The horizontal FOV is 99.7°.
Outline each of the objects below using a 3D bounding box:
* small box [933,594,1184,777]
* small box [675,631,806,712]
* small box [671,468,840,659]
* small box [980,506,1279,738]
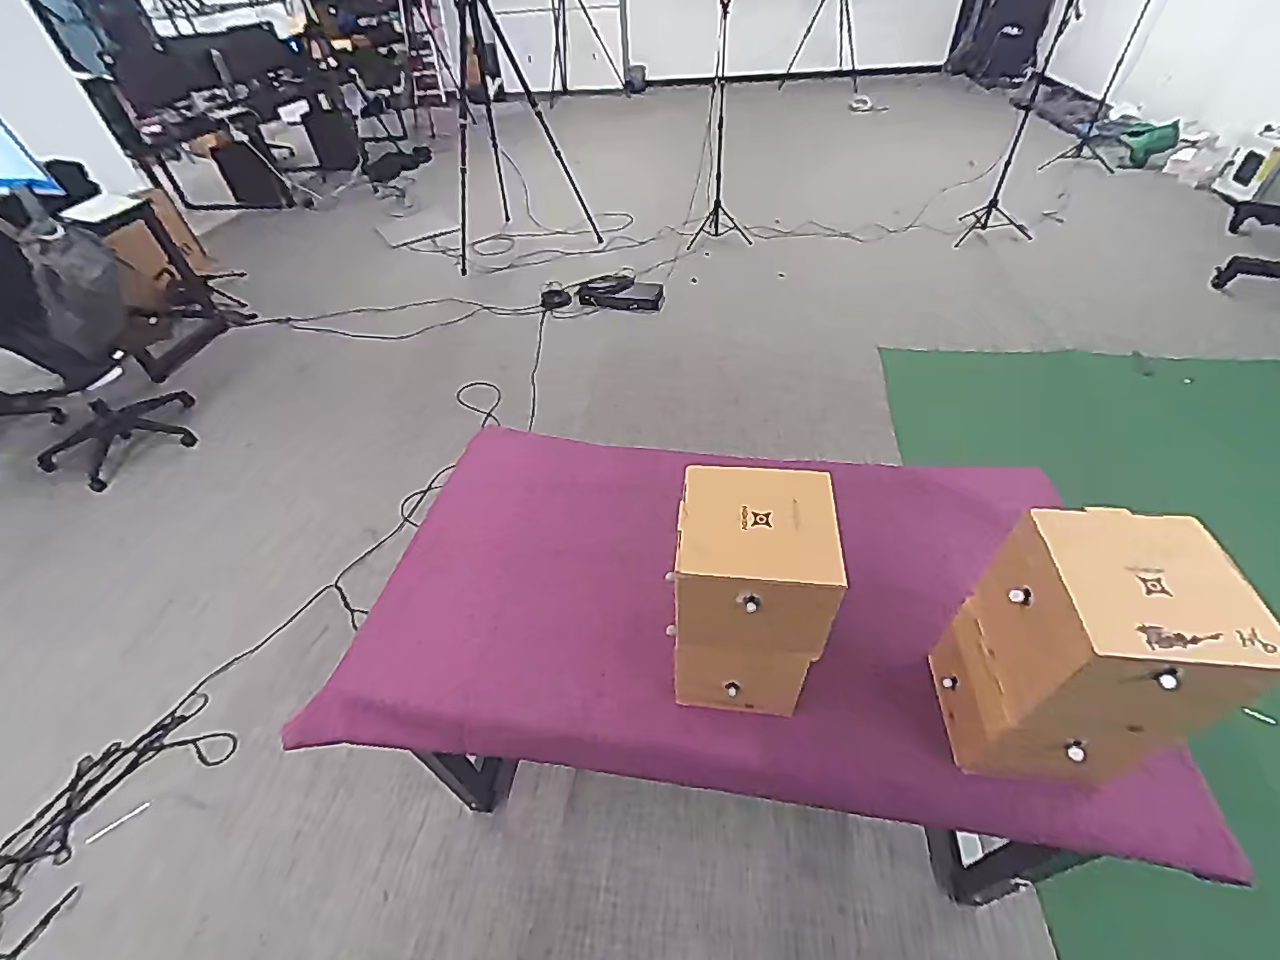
[{"bbox_3d":[0.510,0.265,0.695,0.179,0.176,0.168,1,46,9],"label":"small box"},{"bbox_3d":[0.144,0.215,0.786,0.168,0.176,0.179,3,44,9],"label":"small box"},{"bbox_3d":[0.136,0.103,0.667,0.179,0.176,0.168,3,46,9],"label":"small box"},{"bbox_3d":[0.498,0.148,0.580,0.168,0.176,0.179,1,45,10],"label":"small box"}]
